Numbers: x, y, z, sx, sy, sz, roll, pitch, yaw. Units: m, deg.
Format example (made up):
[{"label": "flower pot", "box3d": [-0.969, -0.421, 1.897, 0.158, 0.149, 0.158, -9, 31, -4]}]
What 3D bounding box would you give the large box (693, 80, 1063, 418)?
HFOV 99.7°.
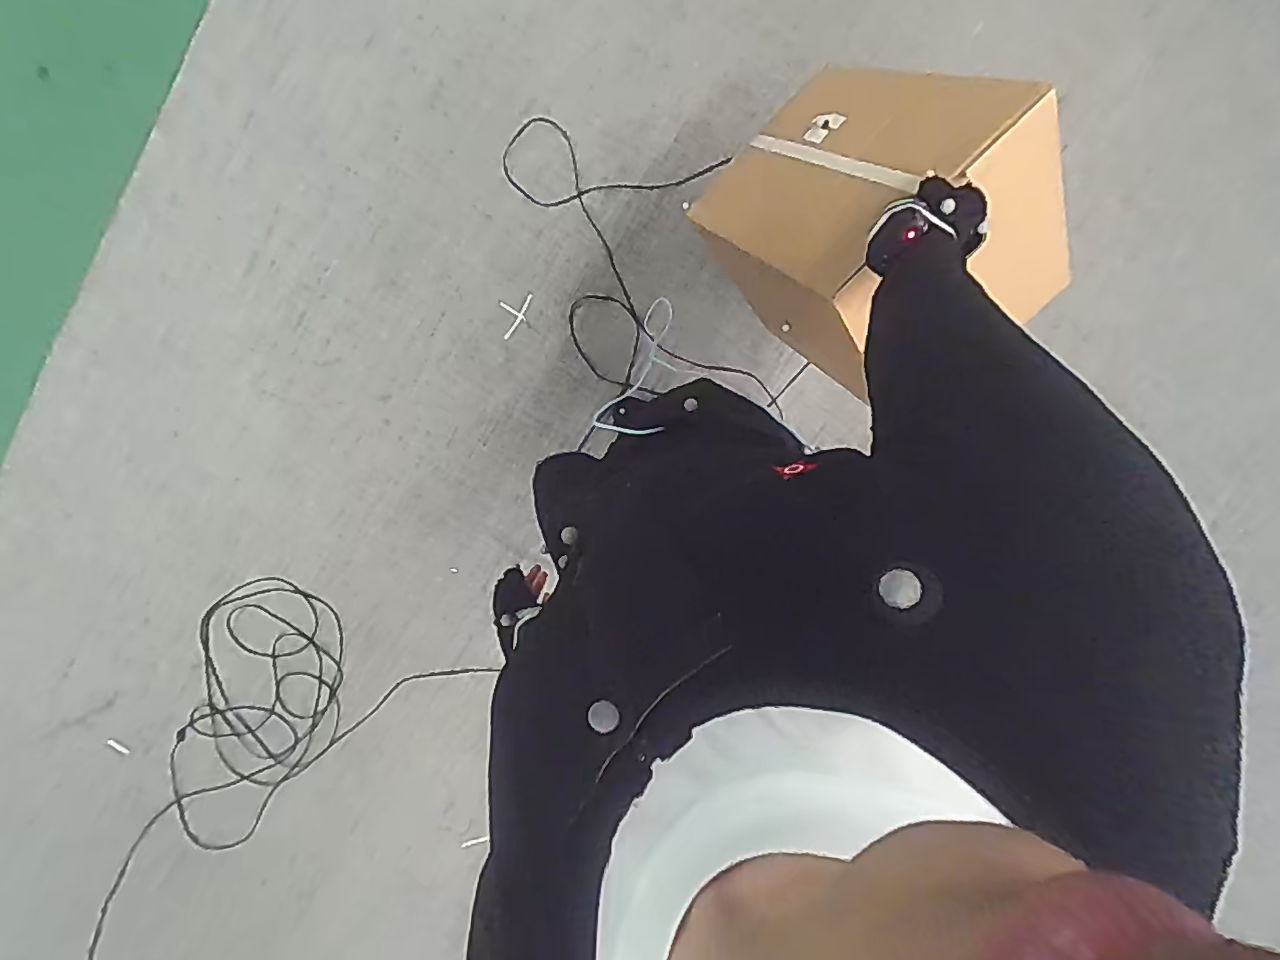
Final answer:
[{"label": "large box", "box3d": [0.361, -0.371, 0.869, 0.320, 0.408, 0.320, -42, 133, 10]}]
